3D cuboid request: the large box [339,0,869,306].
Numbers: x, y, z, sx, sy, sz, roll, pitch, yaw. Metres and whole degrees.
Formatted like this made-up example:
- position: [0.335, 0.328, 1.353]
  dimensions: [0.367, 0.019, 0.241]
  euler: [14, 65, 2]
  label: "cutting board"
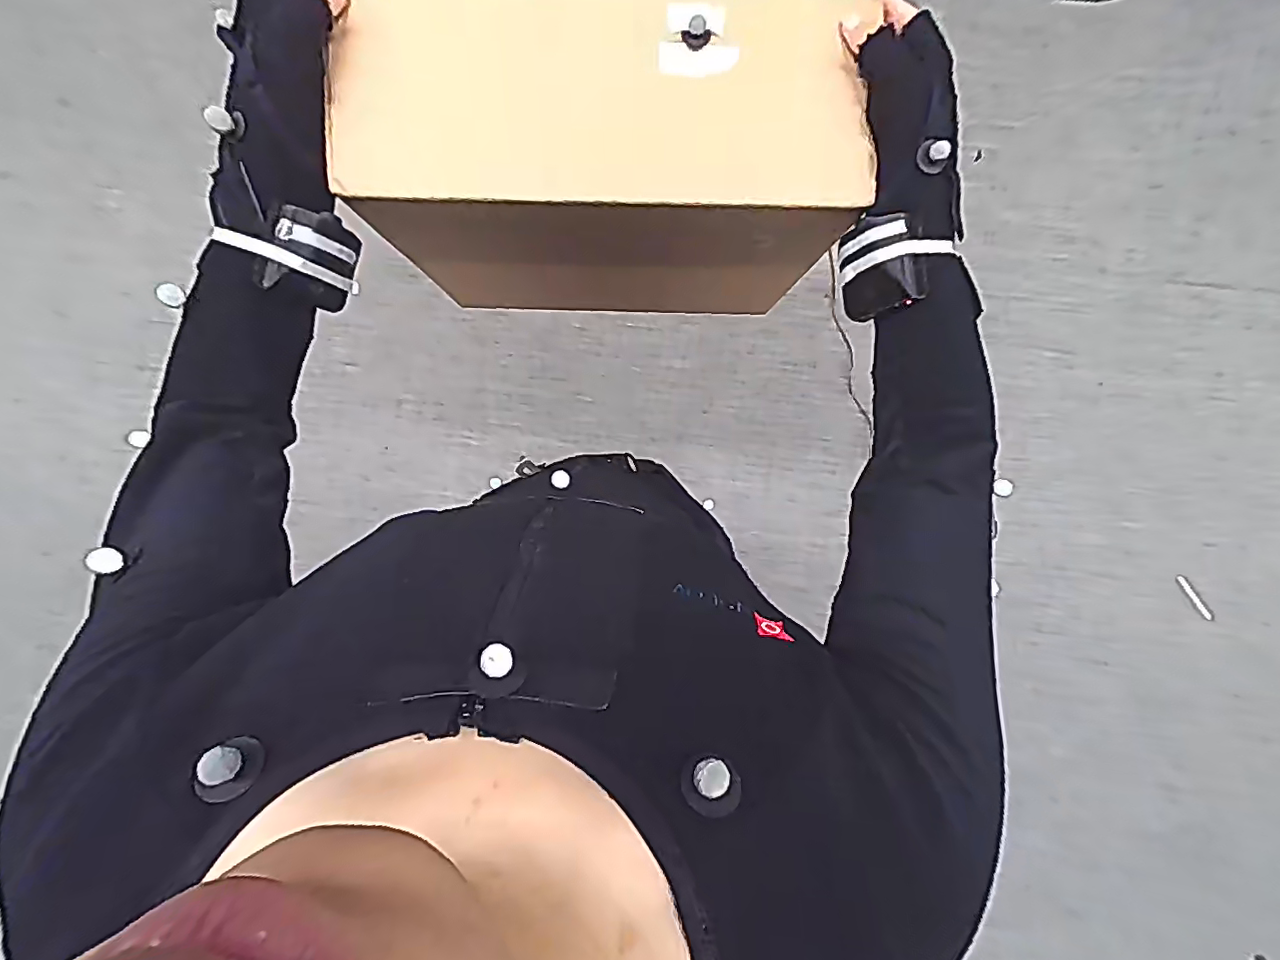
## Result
- position: [-0.029, -0.375, 0.553]
  dimensions: [0.408, 0.320, 0.320]
  euler: [1, 93, -2]
  label: "large box"
